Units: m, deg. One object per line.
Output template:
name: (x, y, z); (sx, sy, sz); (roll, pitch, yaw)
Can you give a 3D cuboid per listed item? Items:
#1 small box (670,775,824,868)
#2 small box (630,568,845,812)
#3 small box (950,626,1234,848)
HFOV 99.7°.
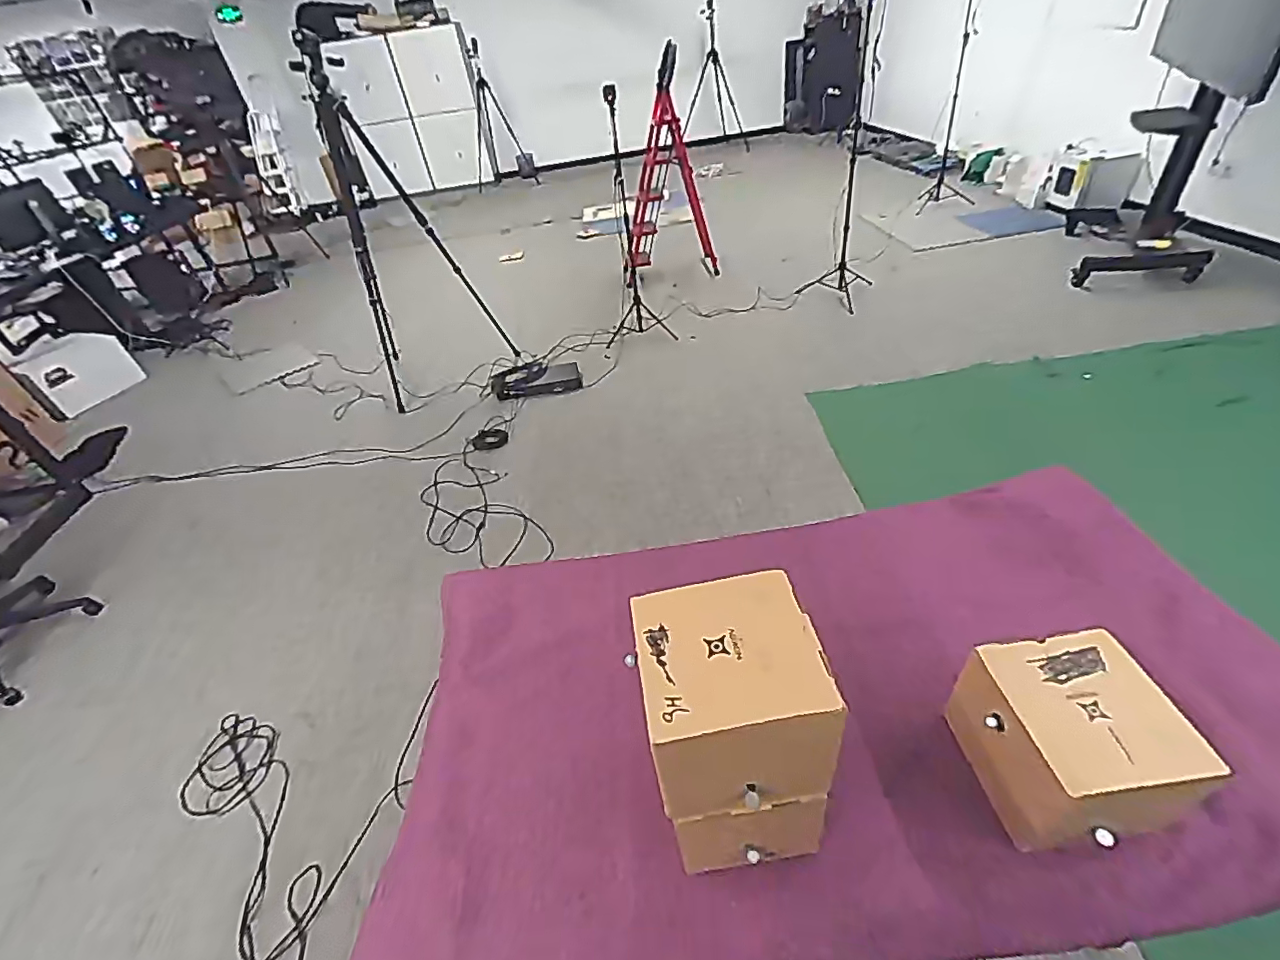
small box: (0.113, 0.345, 0.674); (0.168, 0.176, 0.179); (-10, 38, 0)
small box: (0.091, 0.220, 0.570); (0.179, 0.176, 0.168); (-10, 38, -1)
small box: (0.505, 0.305, 0.645); (0.168, 0.176, 0.179); (-9, 40, 1)
